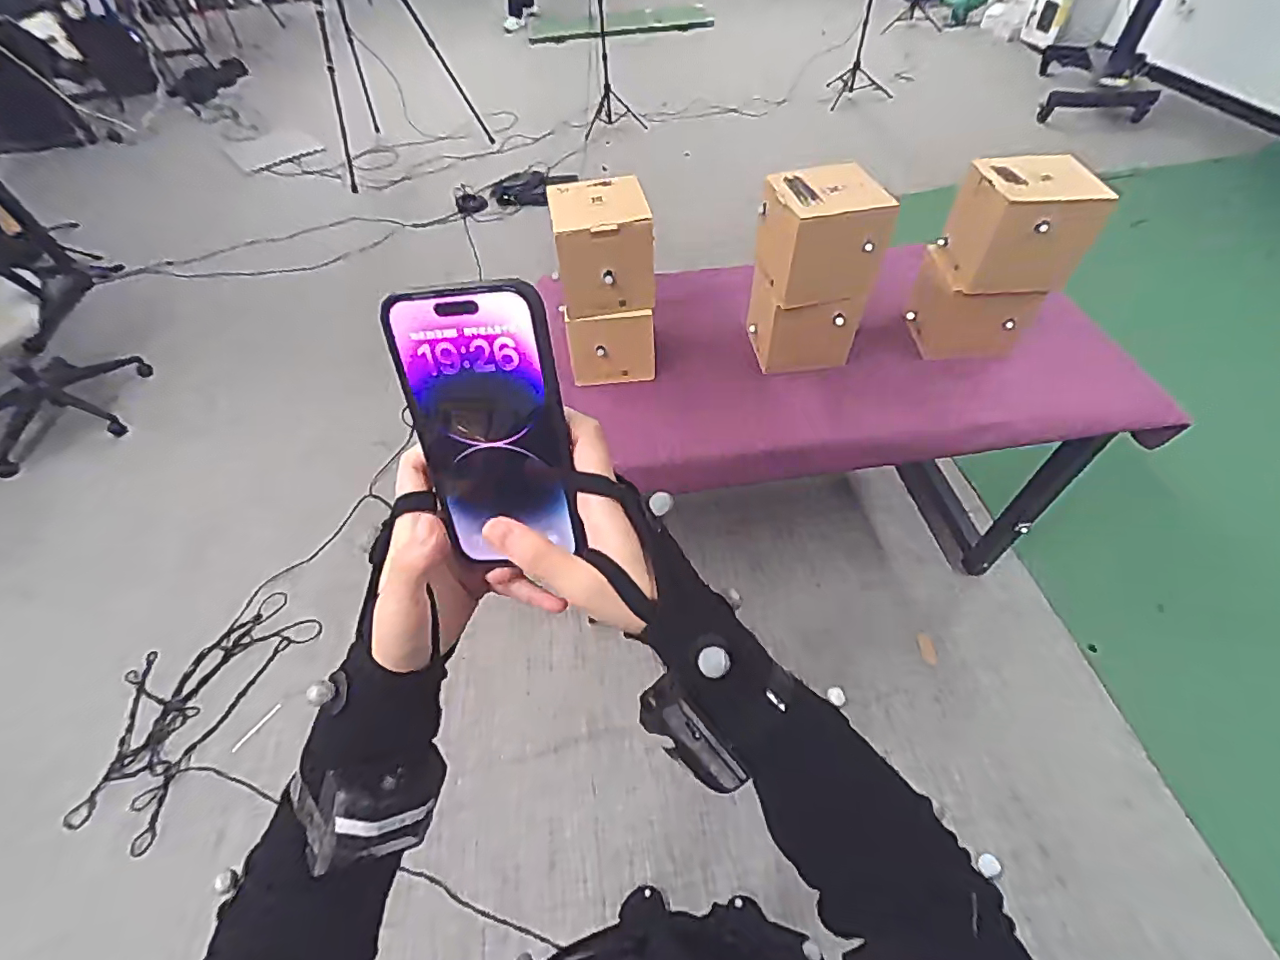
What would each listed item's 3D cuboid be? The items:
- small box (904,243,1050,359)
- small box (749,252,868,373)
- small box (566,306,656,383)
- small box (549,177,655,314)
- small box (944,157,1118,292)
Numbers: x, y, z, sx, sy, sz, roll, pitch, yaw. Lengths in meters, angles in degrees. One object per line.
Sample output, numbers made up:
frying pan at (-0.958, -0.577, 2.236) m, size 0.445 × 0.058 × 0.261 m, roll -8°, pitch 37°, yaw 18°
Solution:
small box at (0.673, -0.363, 1.105) m, size 0.179 × 0.176 × 0.168 m, roll -1°, pitch 52°, yaw 3°
small box at (0.333, -0.339, 1.107) m, size 0.179 × 0.176 × 0.168 m, roll -6°, pitch 52°, yaw -1°
small box at (-0.057, -0.314, 1.116) m, size 0.168 × 0.176 × 0.179 m, roll -5°, pitch 52°, yaw 0°
small box at (-0.067, -0.422, 0.992) m, size 0.168 × 0.176 × 0.179 m, roll -9°, pitch 53°, yaw -4°
small box at (0.674, -0.452, 0.967) m, size 0.179 × 0.176 × 0.168 m, roll -1°, pitch 52°, yaw 2°
